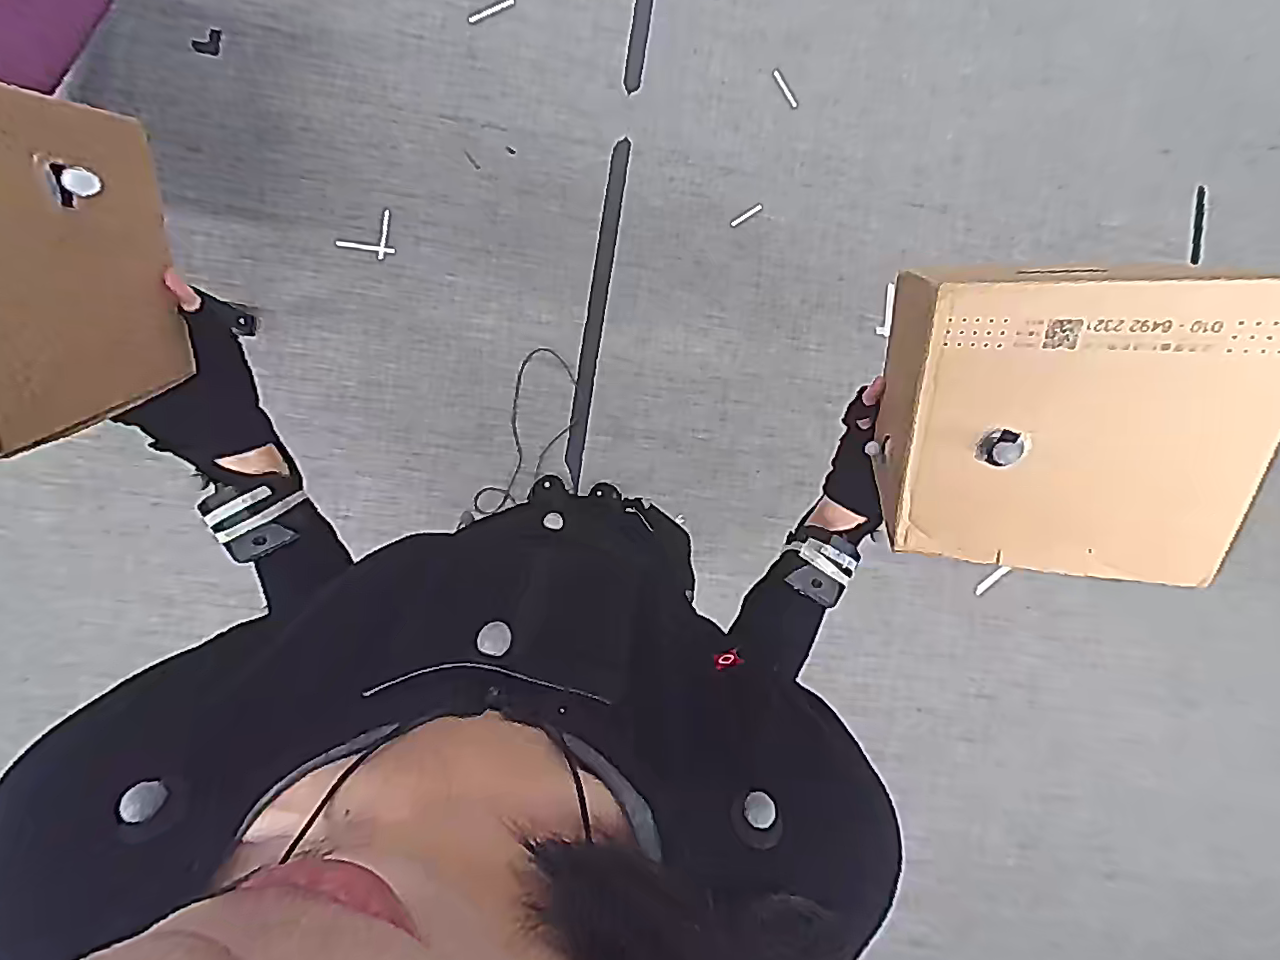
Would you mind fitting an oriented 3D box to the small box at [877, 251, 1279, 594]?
[{"bbox_3d":[0.261,-0.054,0.354,0.168,0.179,0.176,7,115,16],"label":"small box"}]

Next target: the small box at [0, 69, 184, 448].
[{"bbox_3d":[-0.389,-0.123,0.274,0.168,0.179,0.176,2,114,-13],"label":"small box"}]
